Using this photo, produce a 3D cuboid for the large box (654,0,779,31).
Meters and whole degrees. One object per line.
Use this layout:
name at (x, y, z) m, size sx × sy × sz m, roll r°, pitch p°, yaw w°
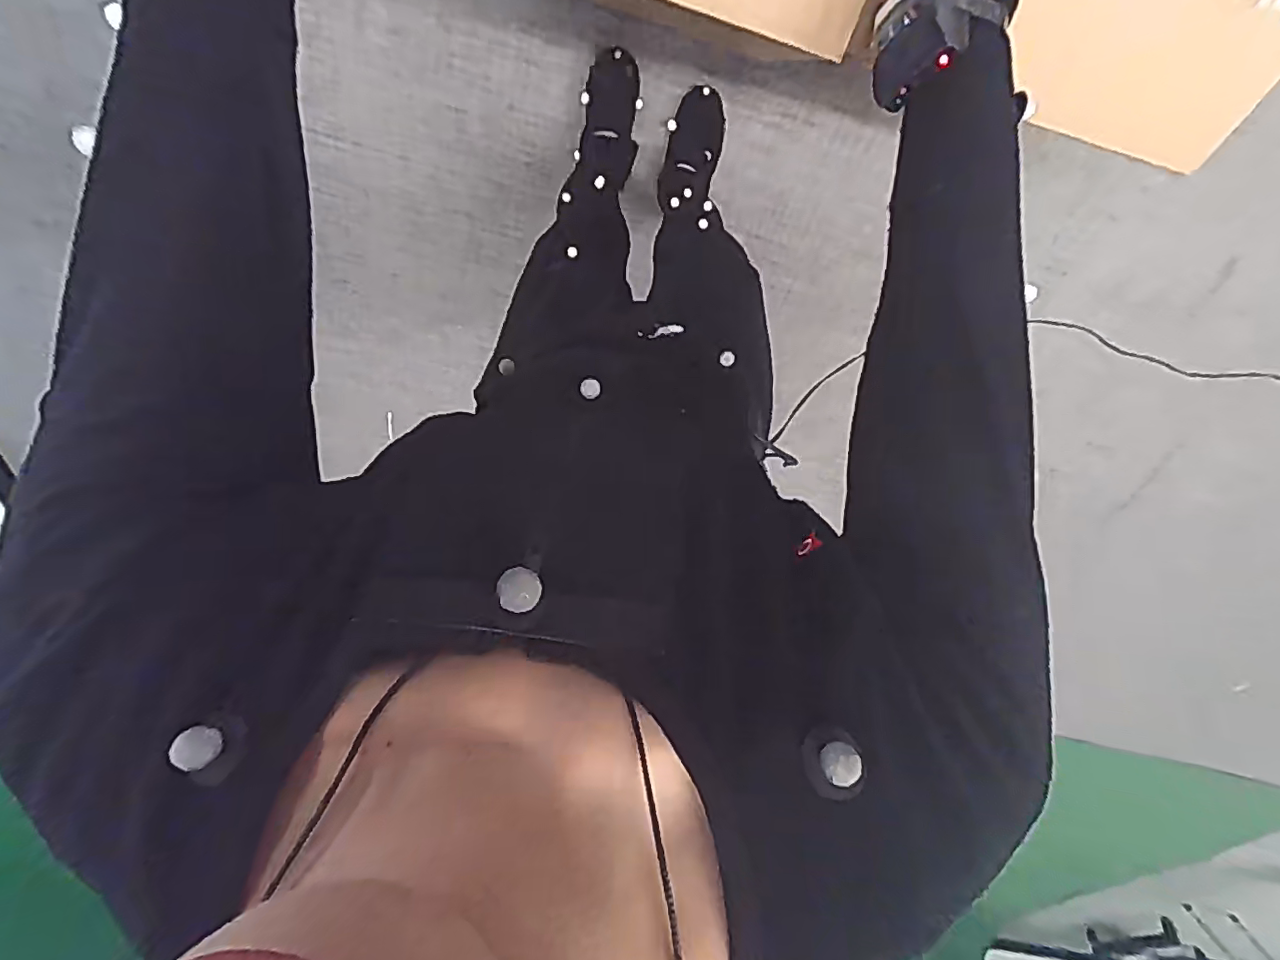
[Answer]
large box at (0.057, -0.932, 0.822) m, size 0.408 × 0.320 × 0.320 m, roll 15°, pitch 128°, yaw -5°
